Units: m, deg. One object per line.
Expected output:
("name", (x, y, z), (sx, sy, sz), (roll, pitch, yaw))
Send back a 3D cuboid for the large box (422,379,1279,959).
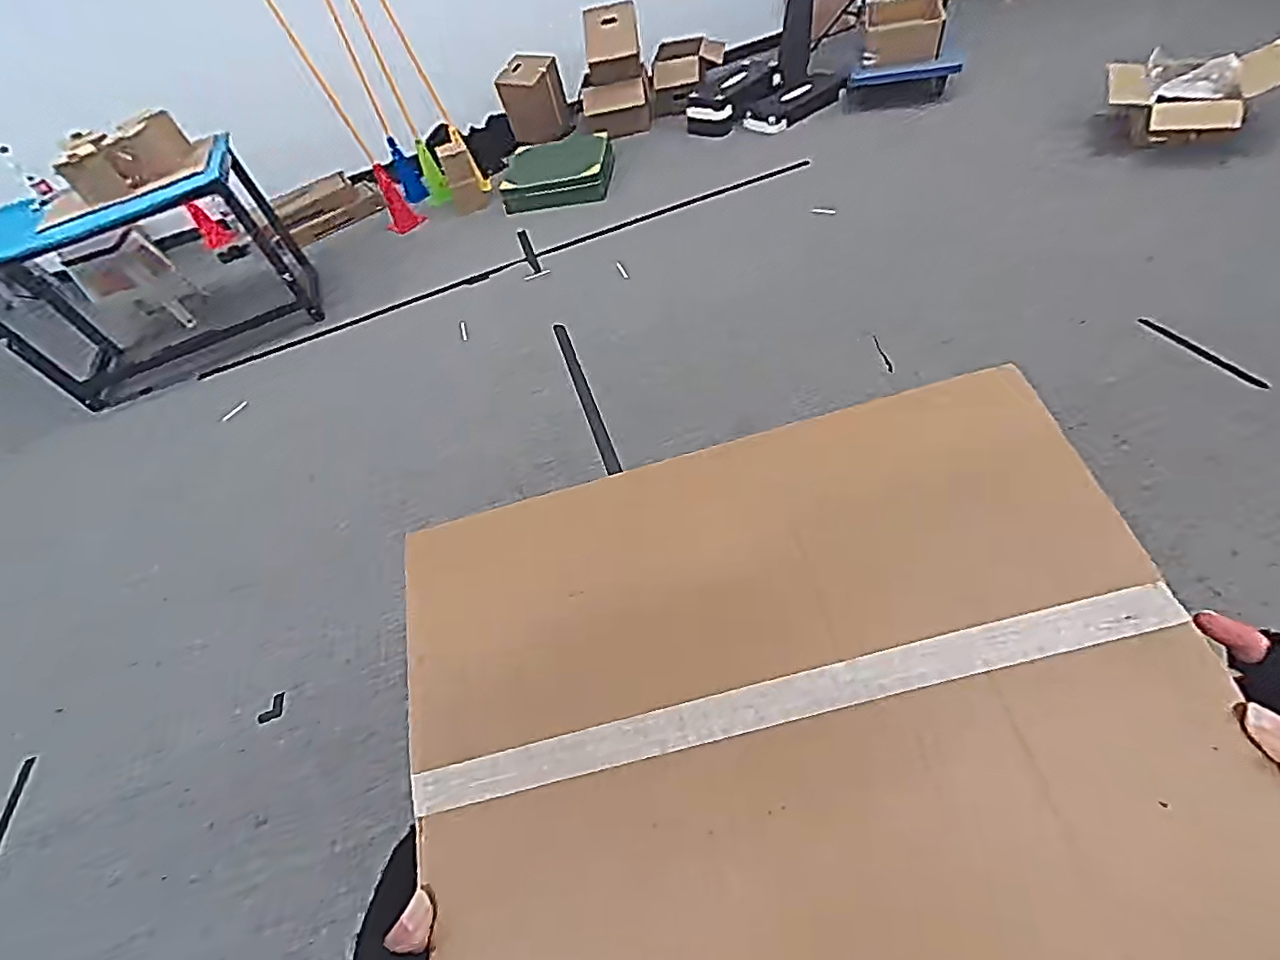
("large box", (0.098, 0.185, 0.424), (0.408, 0.320, 0.320), (-16, 64, 4))
